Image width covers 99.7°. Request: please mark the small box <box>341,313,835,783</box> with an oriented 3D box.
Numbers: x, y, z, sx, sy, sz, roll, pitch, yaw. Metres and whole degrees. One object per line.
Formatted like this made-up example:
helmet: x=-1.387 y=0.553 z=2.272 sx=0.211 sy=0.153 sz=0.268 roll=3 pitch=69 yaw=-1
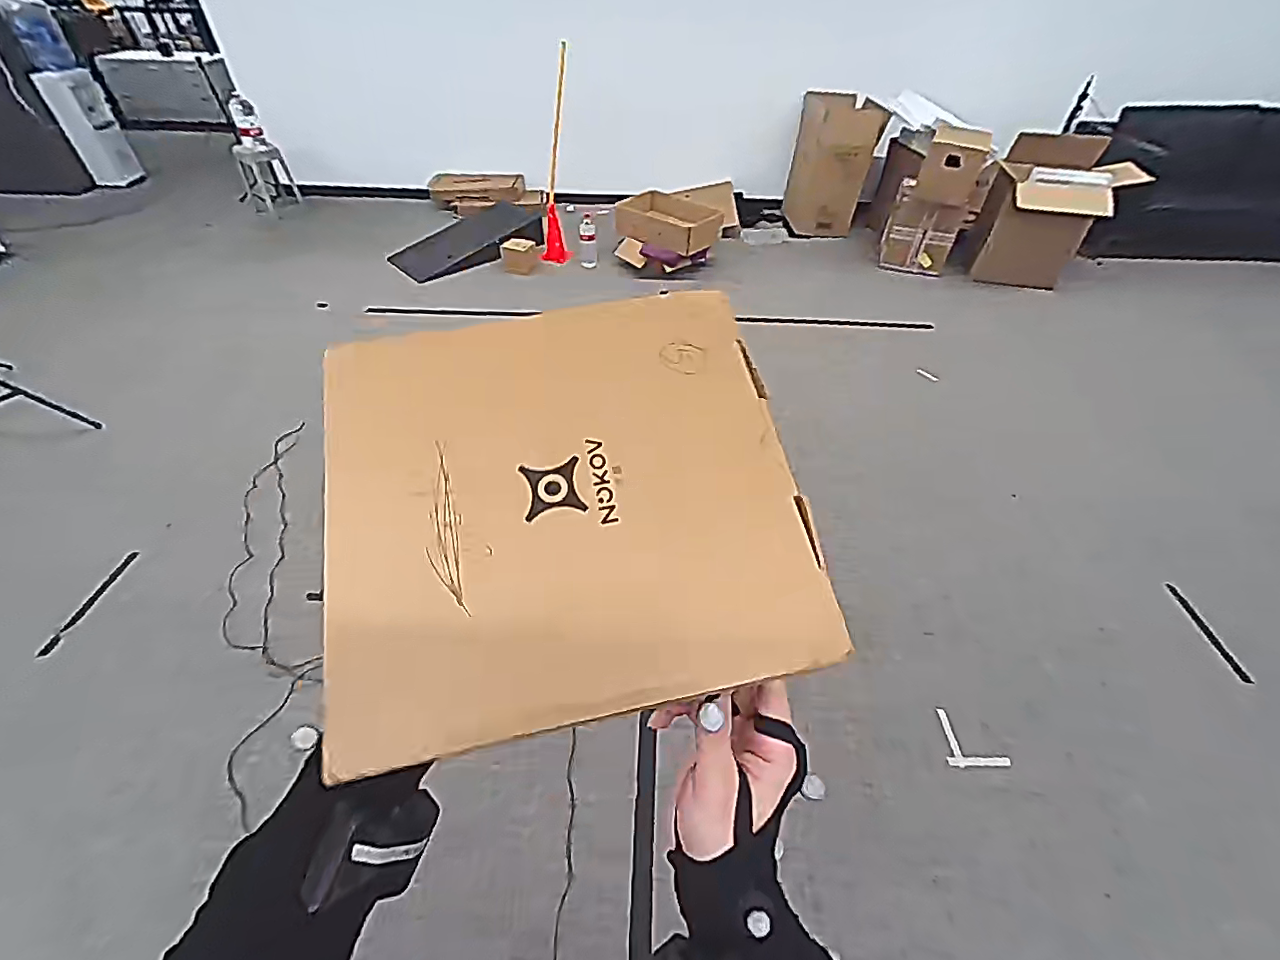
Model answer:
small box: x=-0.031 y=0.042 z=0.292 sx=0.179 sy=0.176 sz=0.168 roll=-13 pitch=67 yaw=-6
